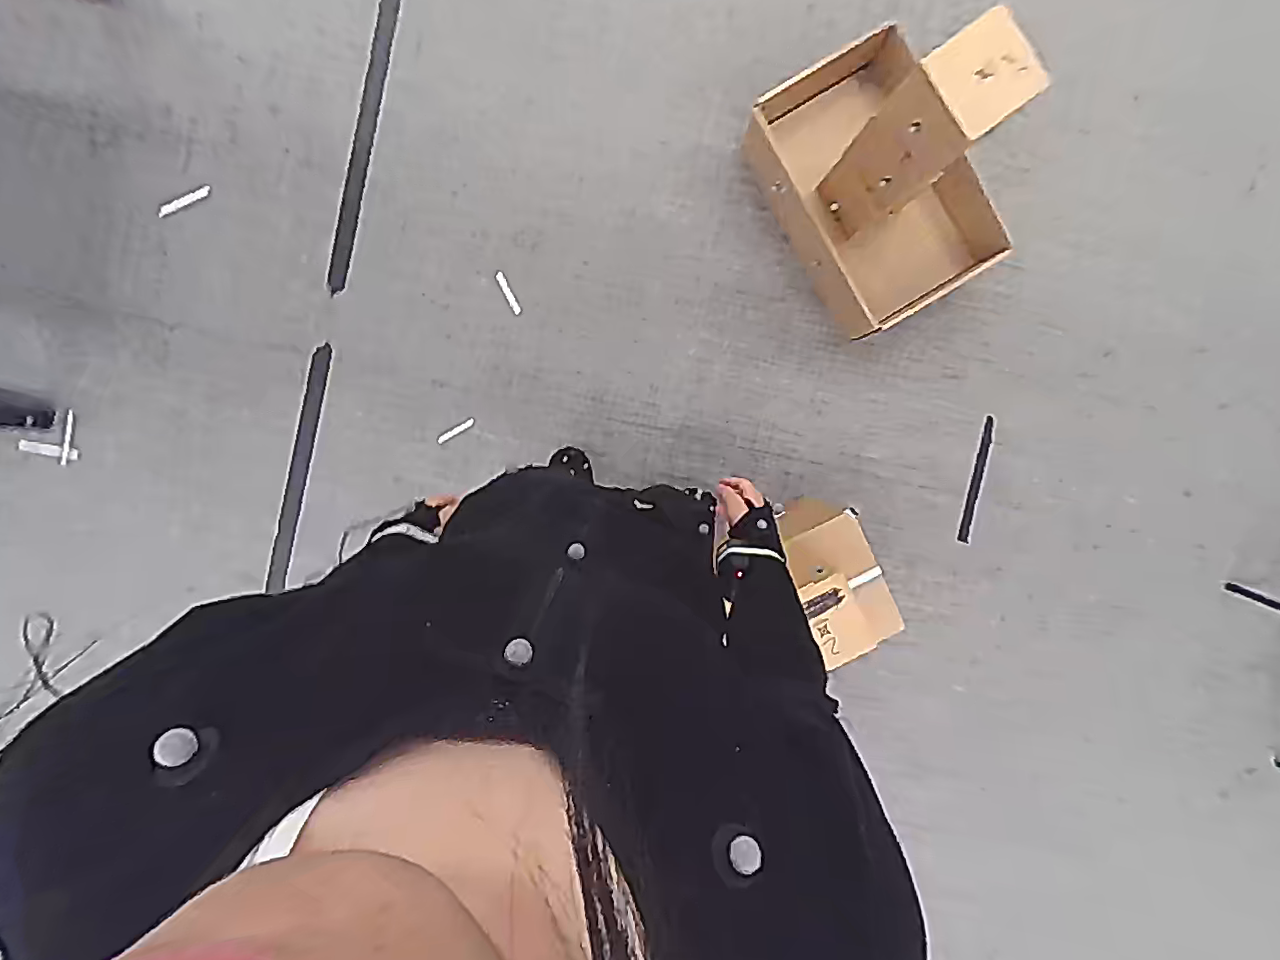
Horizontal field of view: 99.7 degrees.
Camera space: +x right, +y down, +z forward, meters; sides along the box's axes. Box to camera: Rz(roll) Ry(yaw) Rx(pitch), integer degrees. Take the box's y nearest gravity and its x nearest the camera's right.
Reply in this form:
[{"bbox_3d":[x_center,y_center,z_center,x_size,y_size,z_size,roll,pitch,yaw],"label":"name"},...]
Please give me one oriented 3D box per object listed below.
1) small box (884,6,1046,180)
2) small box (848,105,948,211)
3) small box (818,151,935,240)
[{"bbox_3d":[0.593,-0.710,1.018,0.179,0.176,0.168,-36,97,1],"label":"small box"},{"bbox_3d":[0.585,-0.730,1.183,0.179,0.176,0.168,-36,96,-1],"label":"small box"},{"bbox_3d":[0.579,-0.736,1.344,0.179,0.176,0.168,-31,95,1],"label":"small box"}]
